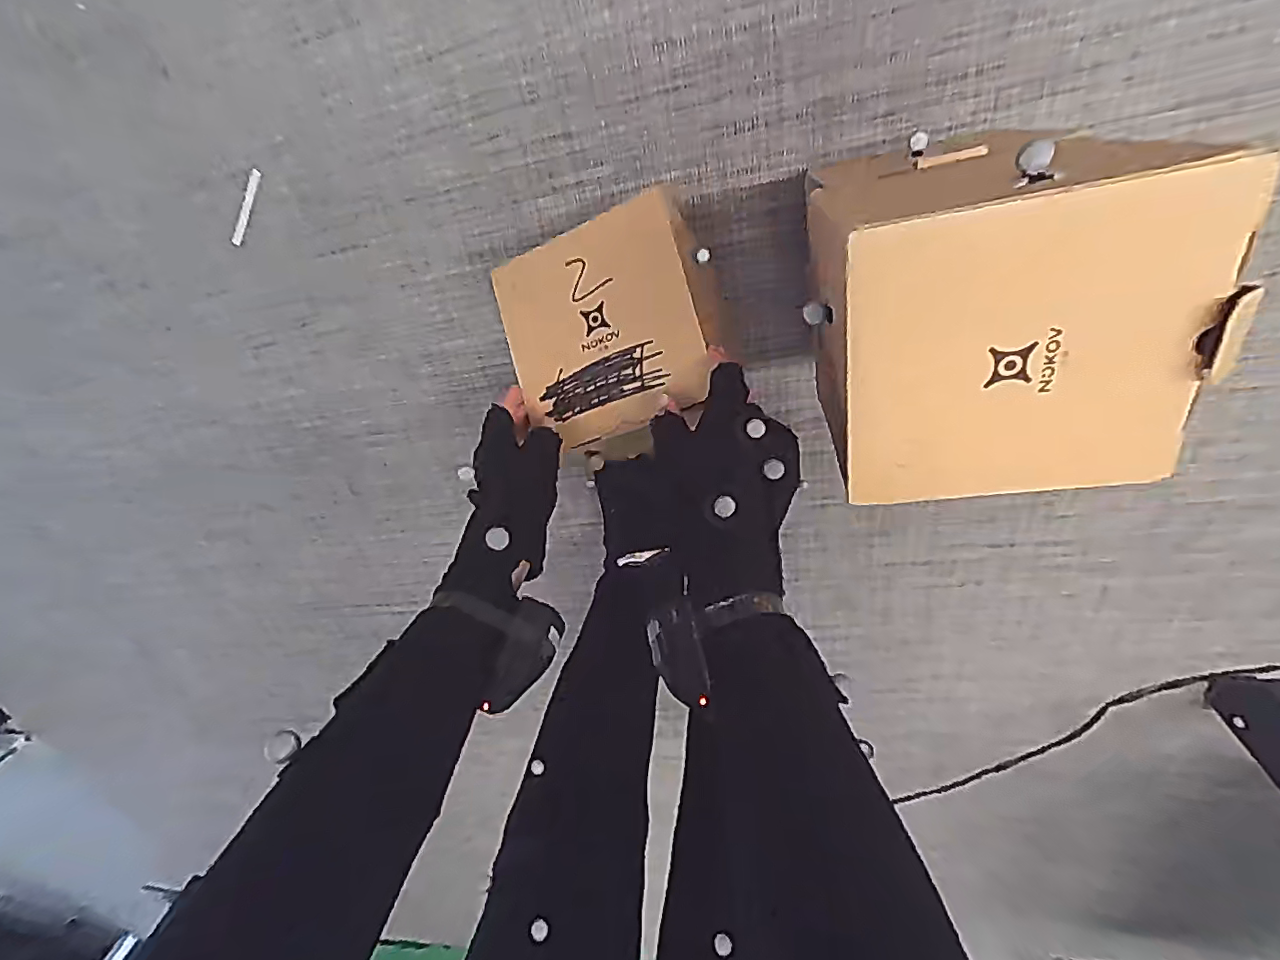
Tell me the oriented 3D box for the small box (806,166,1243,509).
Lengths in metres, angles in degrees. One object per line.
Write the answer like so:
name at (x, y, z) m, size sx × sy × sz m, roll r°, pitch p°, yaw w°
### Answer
small box at (0.208, -0.099, 0.362) m, size 0.179 × 0.176 × 0.168 m, roll -6°, pitch 121°, yaw 13°
